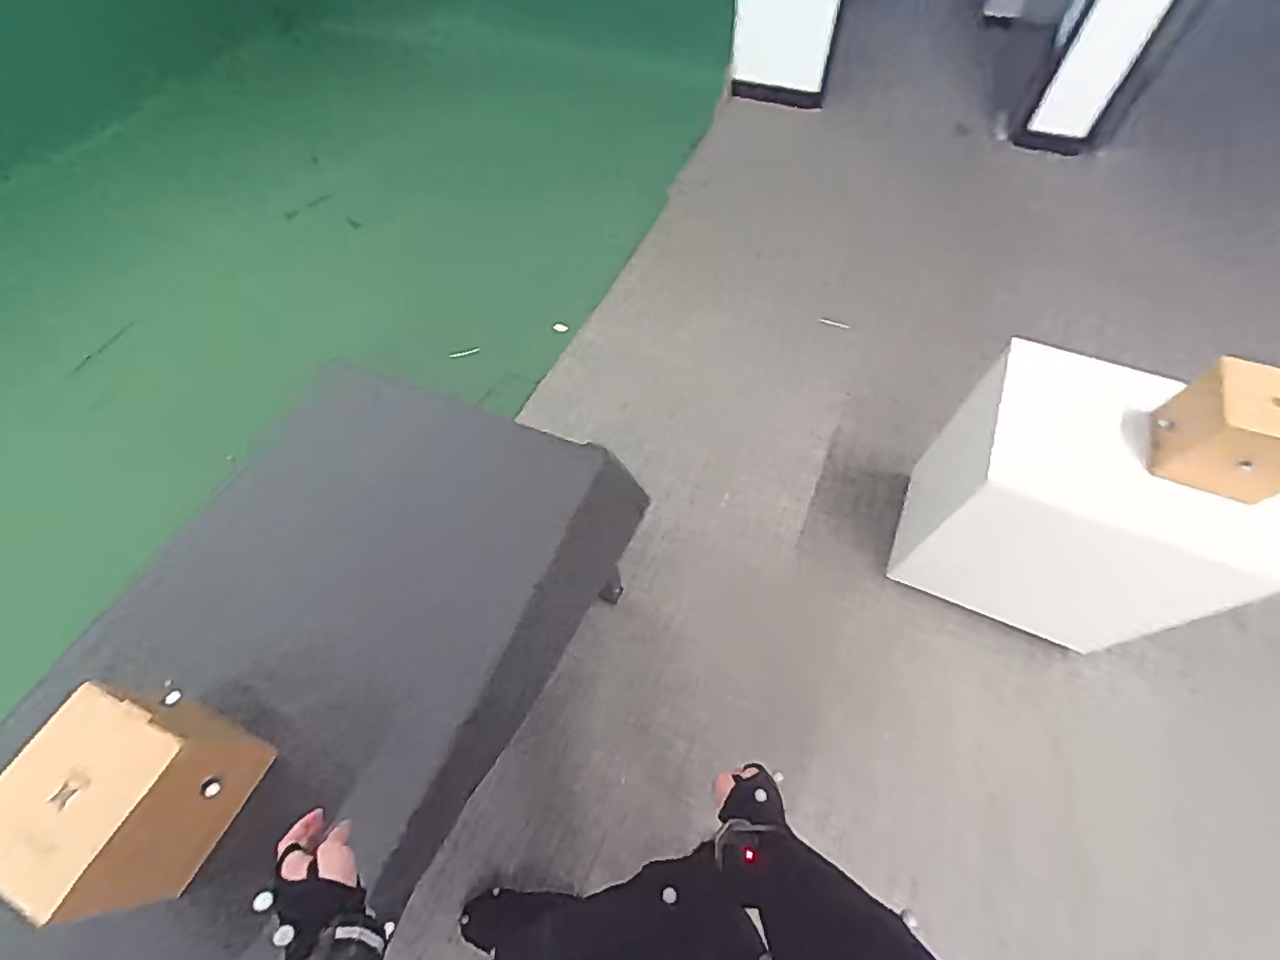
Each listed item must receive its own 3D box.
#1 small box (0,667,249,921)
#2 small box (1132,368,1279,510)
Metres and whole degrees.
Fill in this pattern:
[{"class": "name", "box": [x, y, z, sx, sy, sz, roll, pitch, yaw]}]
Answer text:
[{"class": "small box", "box": [-0.598, 0.343, 0.614, 0.168, 0.176, 0.179, 21, 64, 14]}, {"class": "small box", "box": [1.060, -0.067, 0.984, 0.179, 0.176, 0.168, 22, 63, 13]}]
